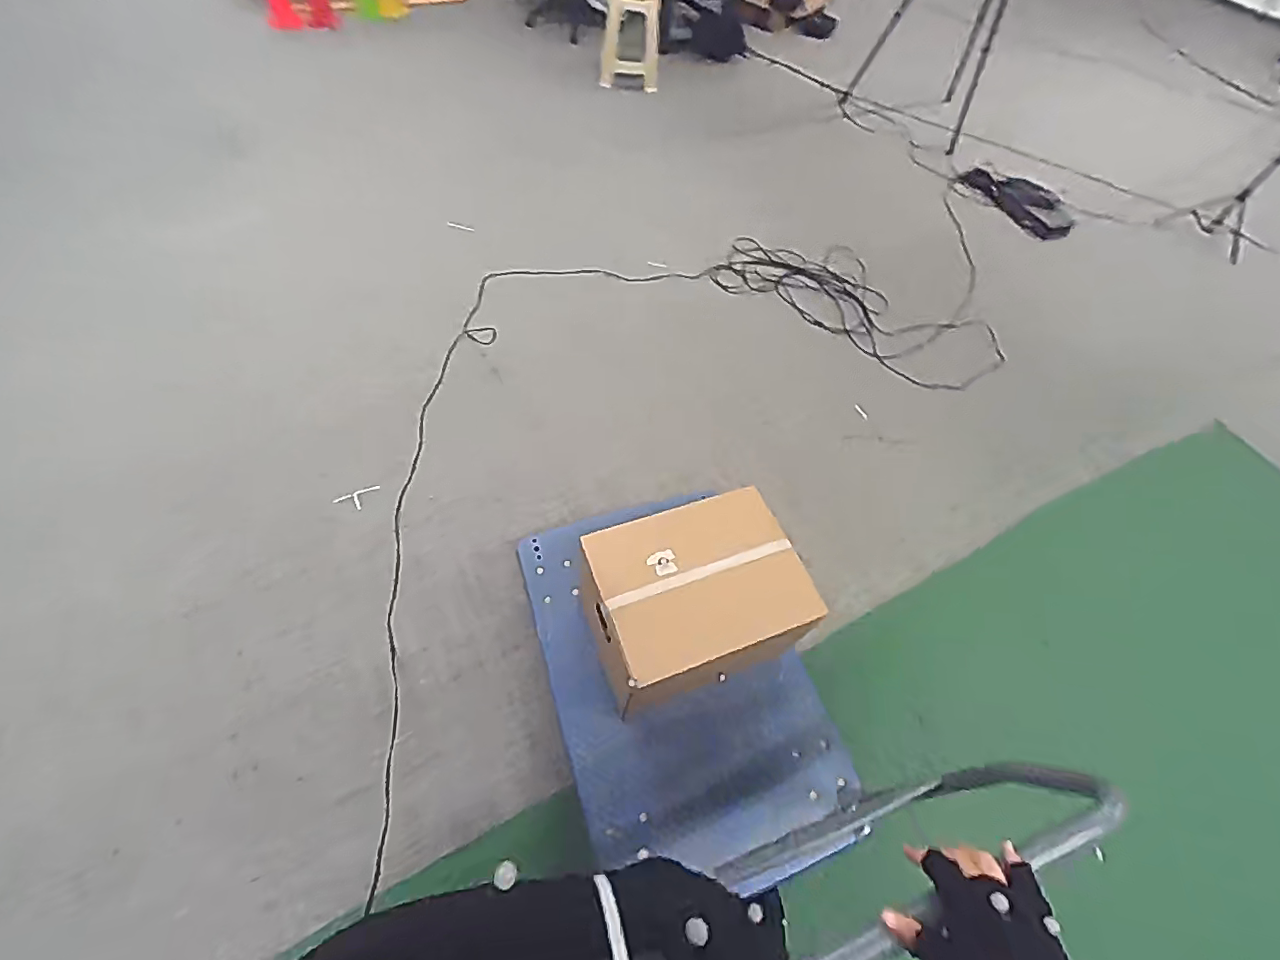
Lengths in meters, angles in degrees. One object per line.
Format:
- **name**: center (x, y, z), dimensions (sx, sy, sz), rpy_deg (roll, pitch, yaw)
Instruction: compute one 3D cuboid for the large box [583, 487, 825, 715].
- **large box**: center (0.112, 0.268, 1.188), dimensions (0.408, 0.320, 0.320), rpy_deg (-16, 59, -16)
